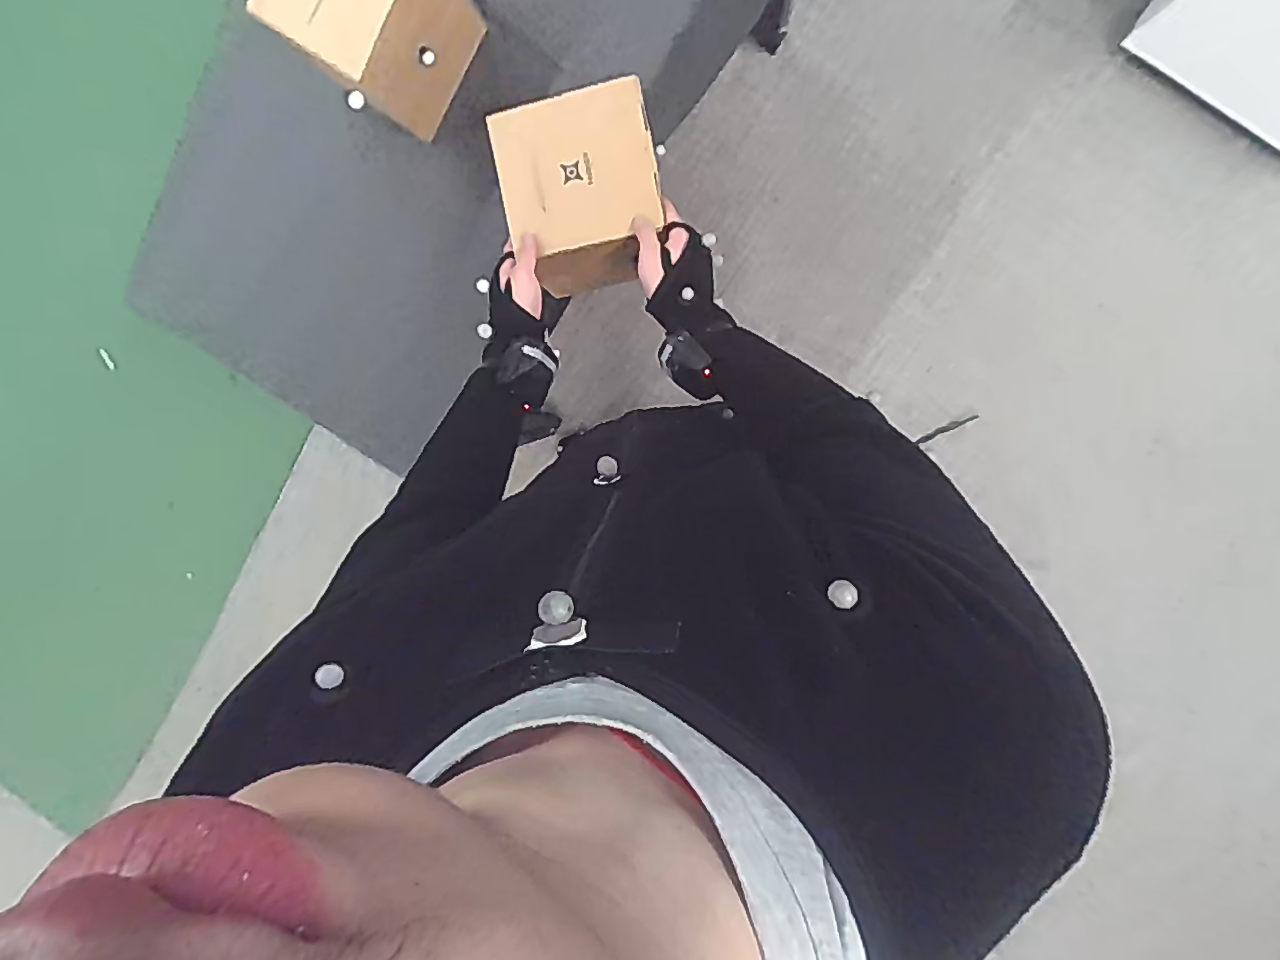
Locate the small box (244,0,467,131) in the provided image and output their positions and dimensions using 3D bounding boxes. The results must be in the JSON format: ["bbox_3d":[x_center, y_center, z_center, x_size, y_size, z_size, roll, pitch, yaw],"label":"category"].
[{"bbox_3d":[-0.340,-0.588,0.667,0.168,0.176,0.179,34,102,0],"label":"small box"}]

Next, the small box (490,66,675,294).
[{"bbox_3d":[-0.055,-0.344,0.656,0.179,0.176,0.168,-11,92,7],"label":"small box"}]
